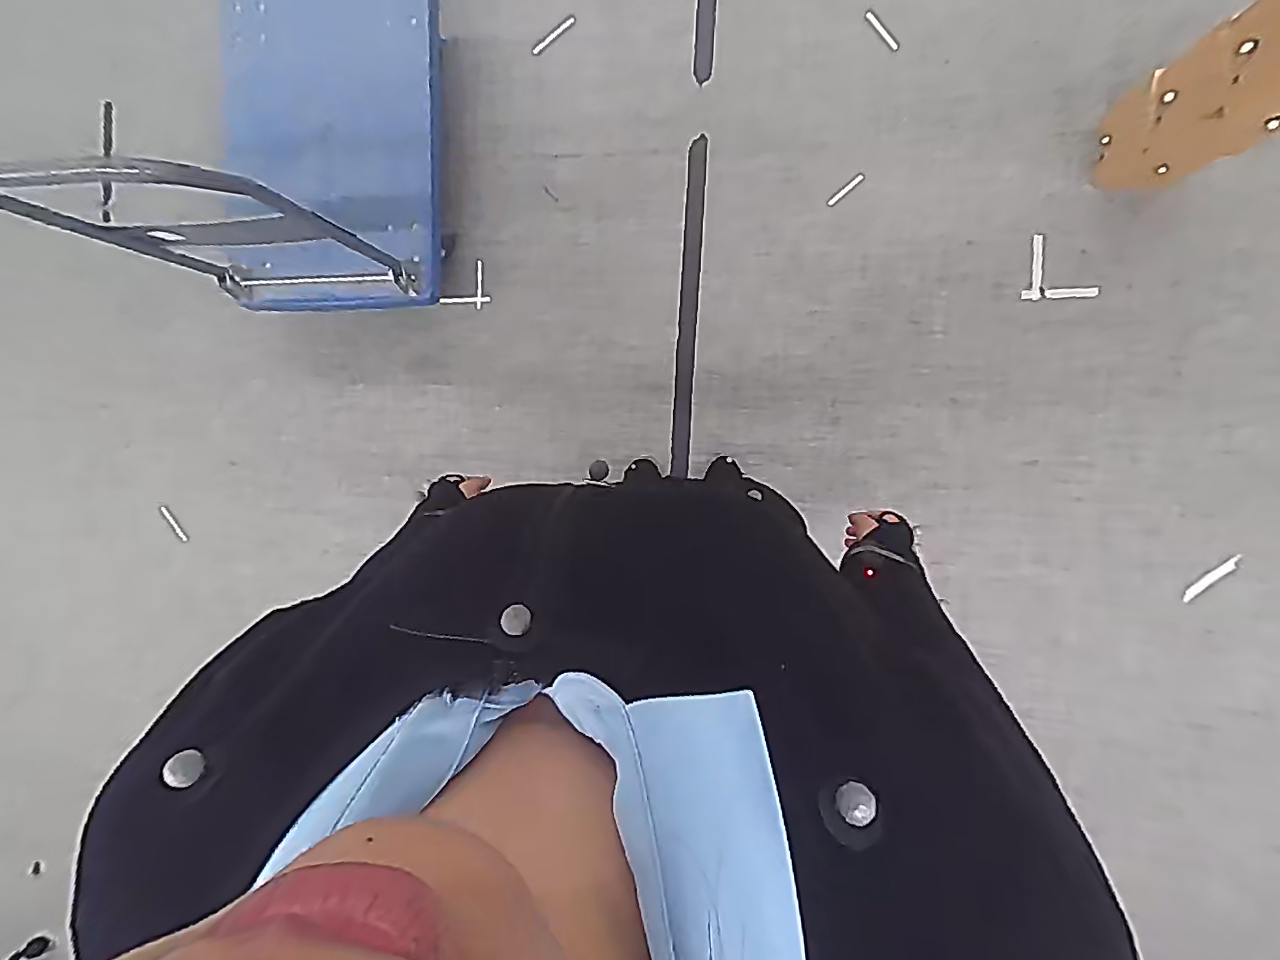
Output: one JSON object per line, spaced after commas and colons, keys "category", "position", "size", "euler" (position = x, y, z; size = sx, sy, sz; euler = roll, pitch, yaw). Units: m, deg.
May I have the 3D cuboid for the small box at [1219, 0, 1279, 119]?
{"category": "small box", "position": [1.140, -0.744, 0.901], "size": [0.179, 0.176, 0.168], "euler": [-5, 92, 9]}

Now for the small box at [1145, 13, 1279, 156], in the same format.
{"category": "small box", "position": [1.163, -0.765, 1.061], "size": [0.179, 0.176, 0.168], "euler": [7, 93, 8]}
